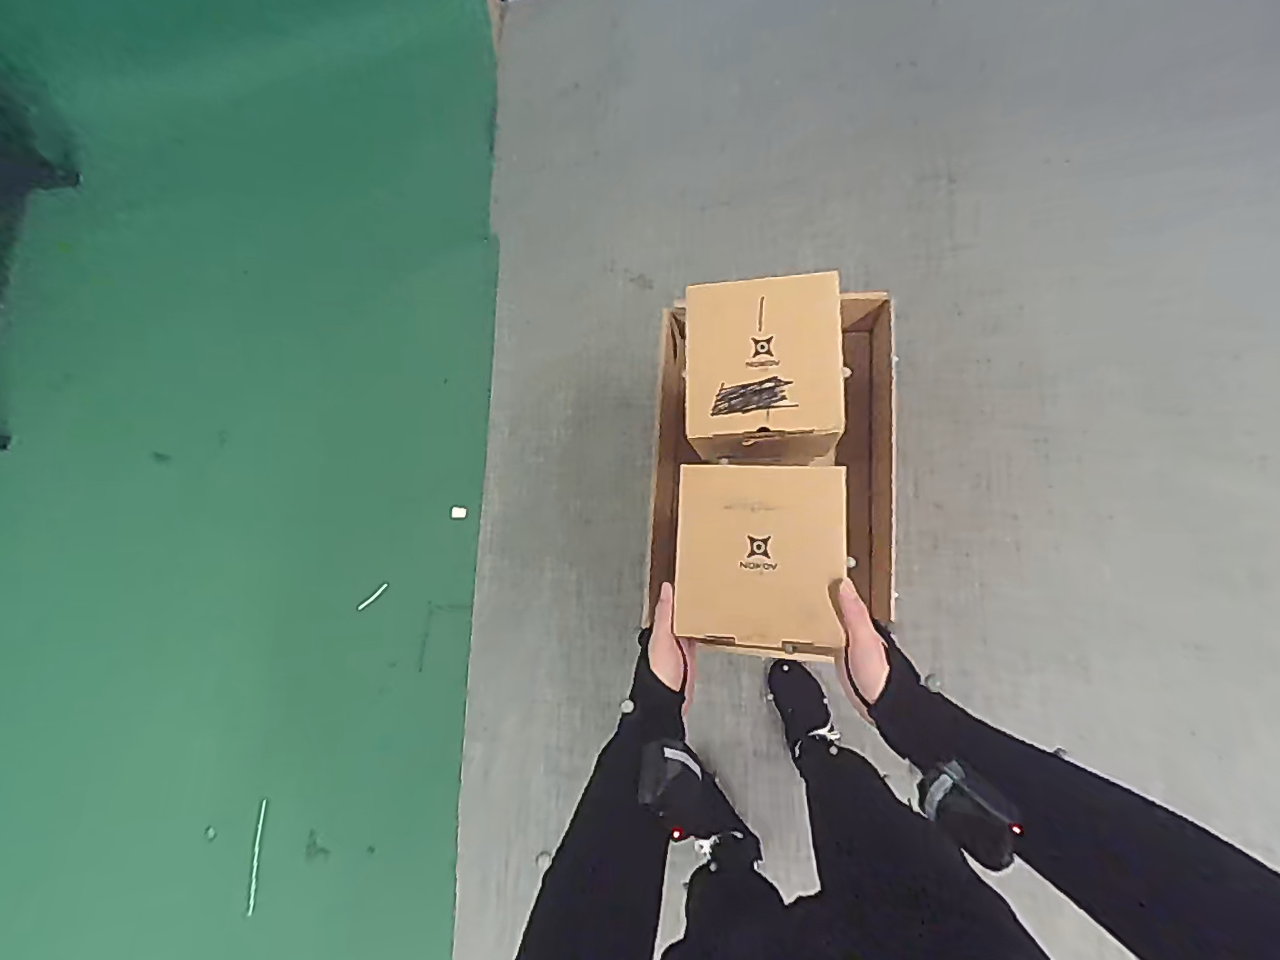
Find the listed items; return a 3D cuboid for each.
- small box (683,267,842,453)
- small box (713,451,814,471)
[{"bbox_3d":[0.146,-0.127,0.649,0.168,0.176,0.179,-1,83,13],"label":"small box"},{"bbox_3d":[0.221,-0.115,0.970,0.168,0.176,0.179,1,84,13],"label":"small box"}]
